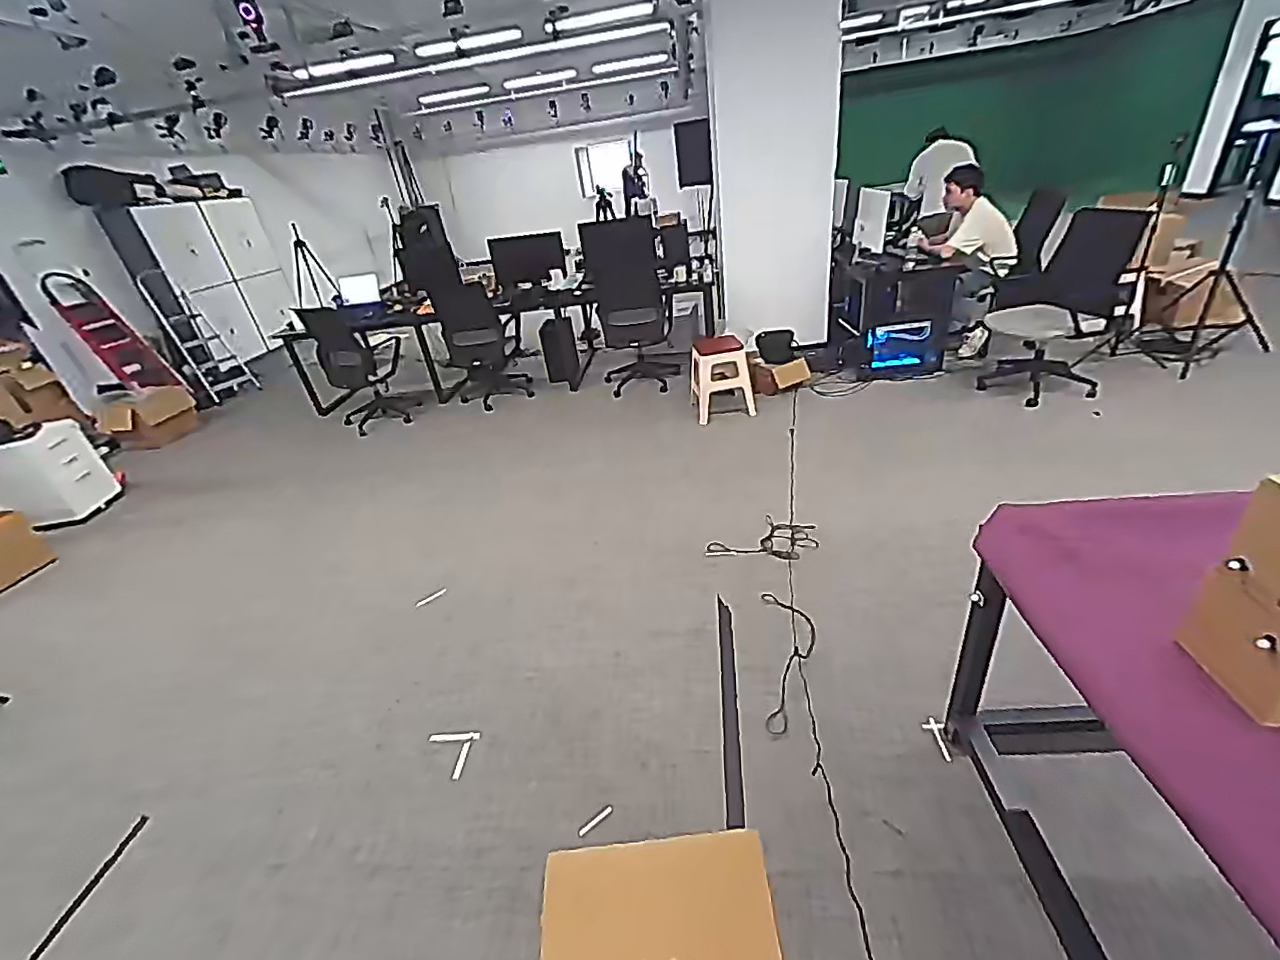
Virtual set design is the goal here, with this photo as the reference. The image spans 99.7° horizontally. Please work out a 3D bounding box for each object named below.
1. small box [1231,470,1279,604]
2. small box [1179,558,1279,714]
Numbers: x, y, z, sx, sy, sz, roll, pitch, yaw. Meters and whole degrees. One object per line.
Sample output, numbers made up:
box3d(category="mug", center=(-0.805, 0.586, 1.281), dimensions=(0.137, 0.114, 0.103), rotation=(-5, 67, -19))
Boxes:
box3d(category="small box", center=(0.966, 0.092, 0.723), dimensions=(0.179, 0.176, 0.168), rotation=(-5, 31, 7))
box3d(category="small box", center=(0.981, 0.233, 0.807), dimensions=(0.168, 0.176, 0.179), rotation=(-4, 31, 8))
